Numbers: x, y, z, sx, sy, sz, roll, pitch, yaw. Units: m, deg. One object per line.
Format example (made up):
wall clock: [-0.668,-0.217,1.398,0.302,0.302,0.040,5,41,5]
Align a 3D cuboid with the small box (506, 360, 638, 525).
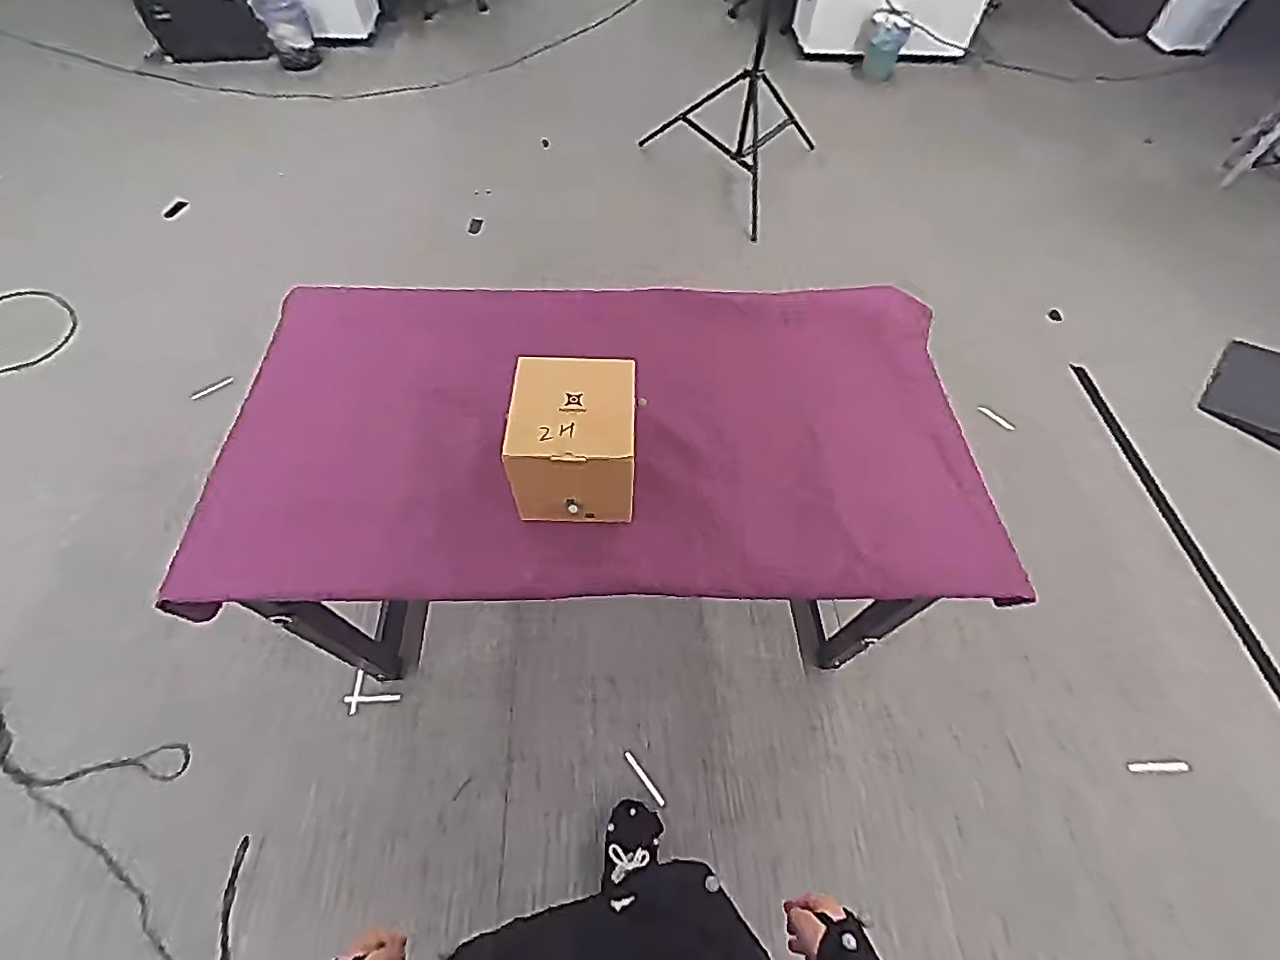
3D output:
small box: [-0.090,-0.052,0.791,0.168,0.176,0.179,1,57,-1]
